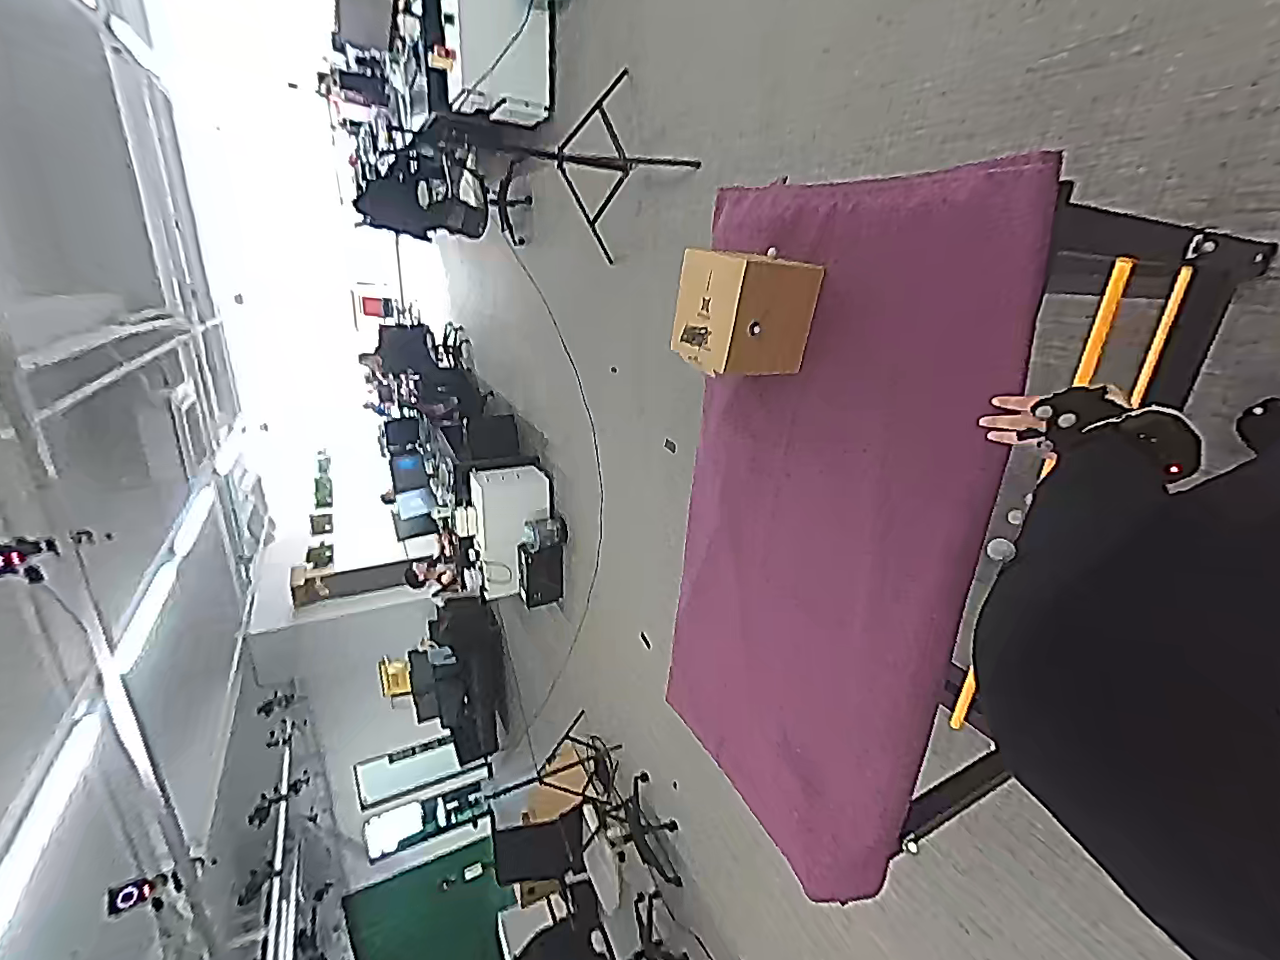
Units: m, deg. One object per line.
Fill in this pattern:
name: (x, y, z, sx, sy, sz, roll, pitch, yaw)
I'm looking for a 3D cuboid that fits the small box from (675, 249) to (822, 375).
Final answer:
small box: (0.183, -0.289, 0.929, 0.168, 0.176, 0.179, 42, 132, 49)
